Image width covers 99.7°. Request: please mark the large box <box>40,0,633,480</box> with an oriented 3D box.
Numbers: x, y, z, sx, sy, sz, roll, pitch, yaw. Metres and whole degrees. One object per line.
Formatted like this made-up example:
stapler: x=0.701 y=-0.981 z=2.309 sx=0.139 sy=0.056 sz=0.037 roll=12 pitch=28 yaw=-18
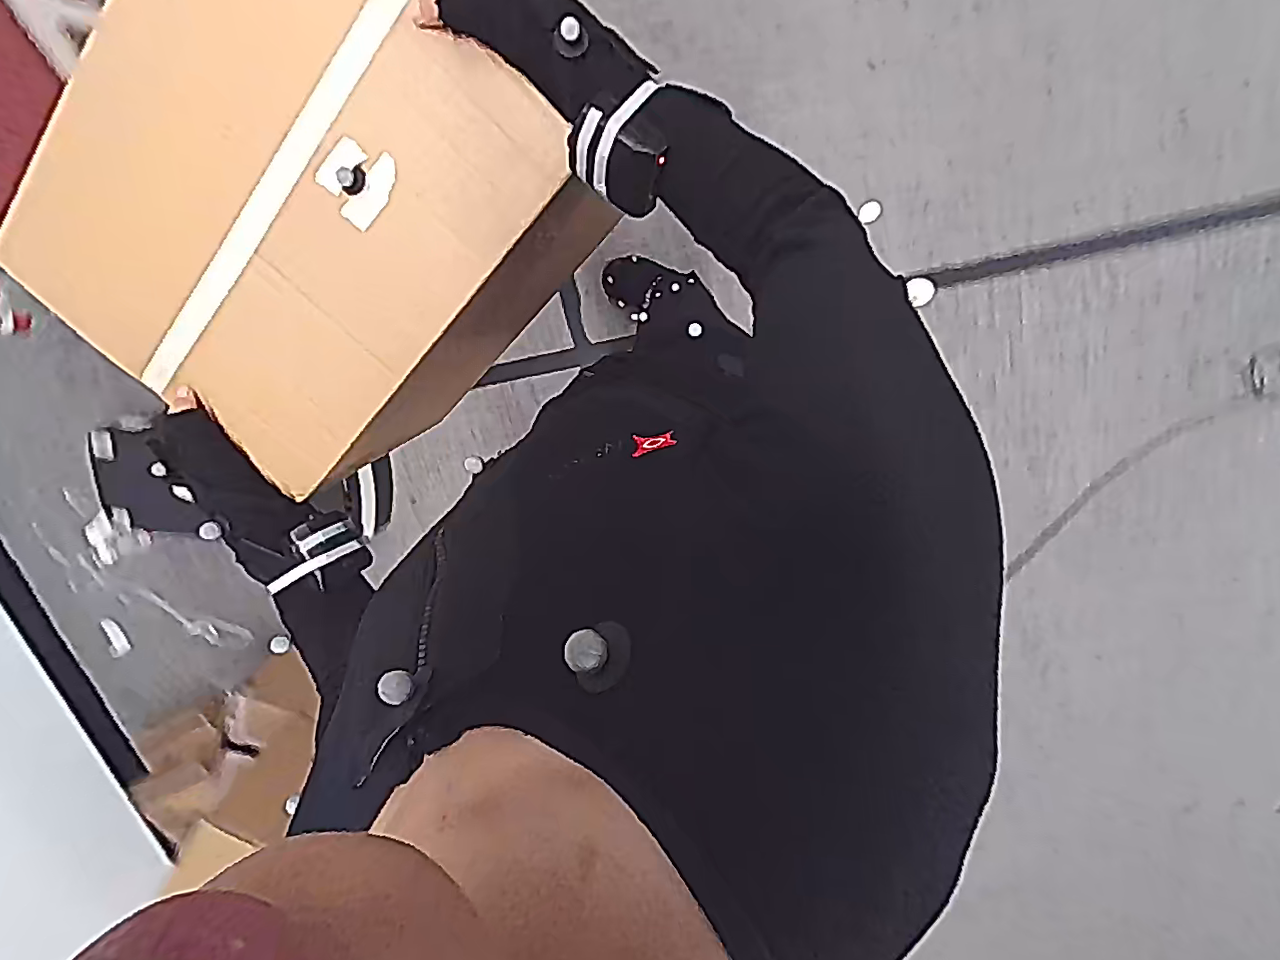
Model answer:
large box: x=-0.262 y=-0.275 z=0.576 sx=0.408 sy=0.320 sz=0.320 roll=-42 pitch=101 yaw=16
